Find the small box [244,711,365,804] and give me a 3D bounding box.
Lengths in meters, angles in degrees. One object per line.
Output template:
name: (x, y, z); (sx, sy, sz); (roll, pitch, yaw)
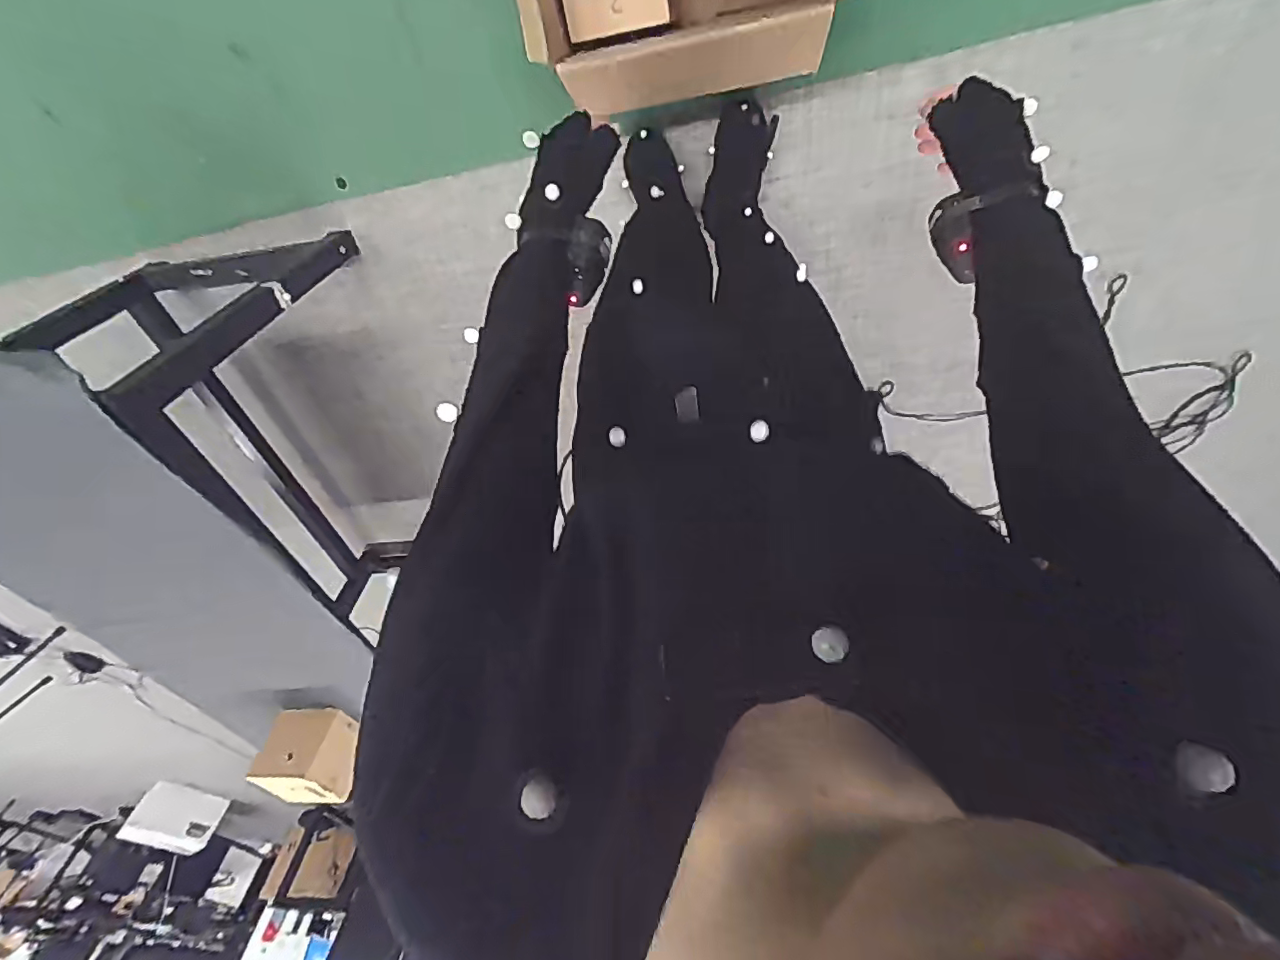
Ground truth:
small box: (-0.831, 0.700, 1.368); (0.179, 0.176, 0.168); (-7, 131, 13)
